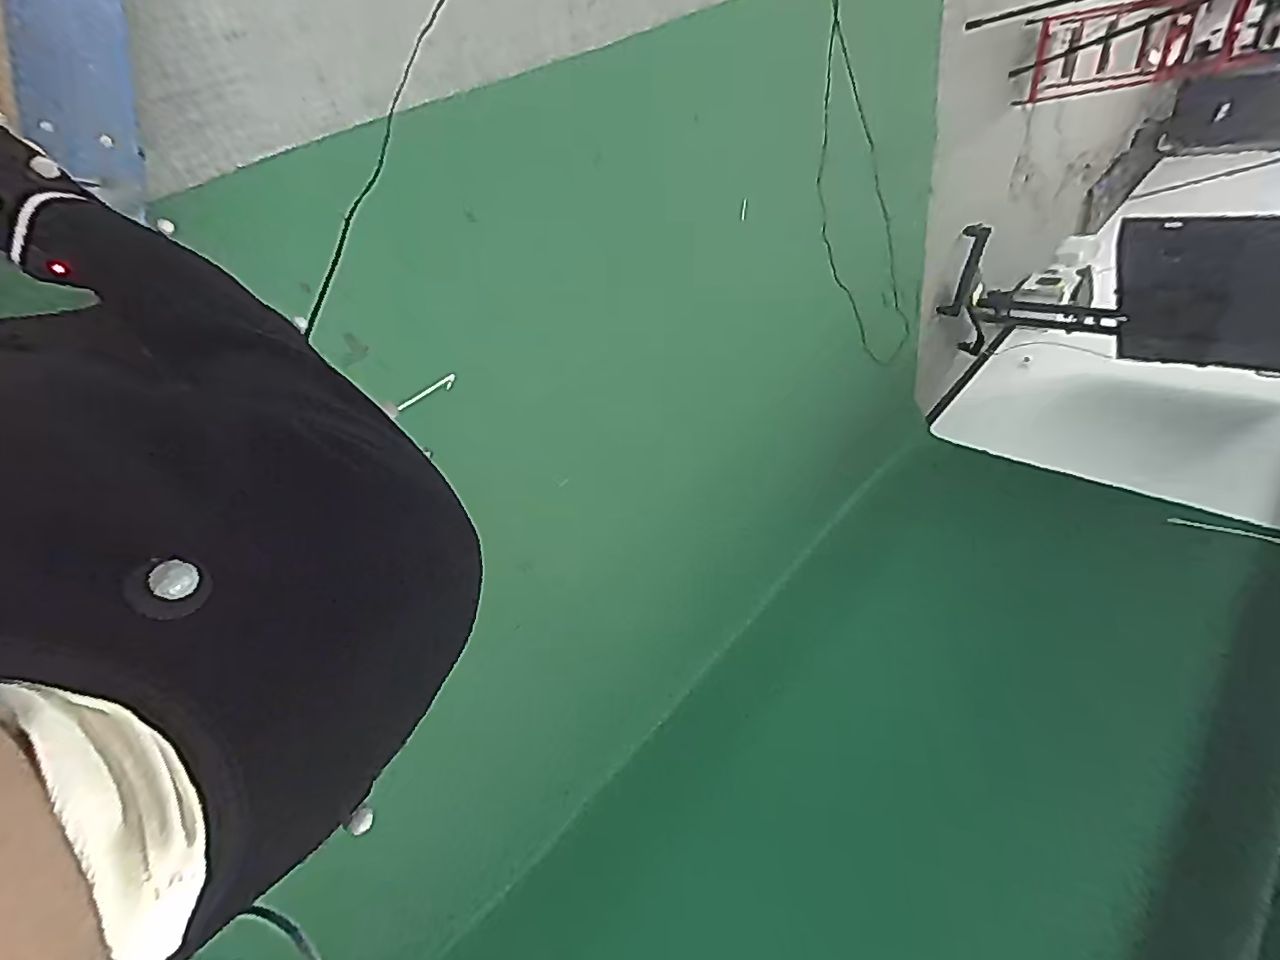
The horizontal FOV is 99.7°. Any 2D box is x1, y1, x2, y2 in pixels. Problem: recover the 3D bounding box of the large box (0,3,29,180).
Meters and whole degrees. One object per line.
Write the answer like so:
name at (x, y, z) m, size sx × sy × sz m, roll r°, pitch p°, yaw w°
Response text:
large box at (-1.020, -0.631, 0.655) m, size 0.320 × 0.320 × 0.408 m, roll -7°, pitch 112°, yaw -43°
